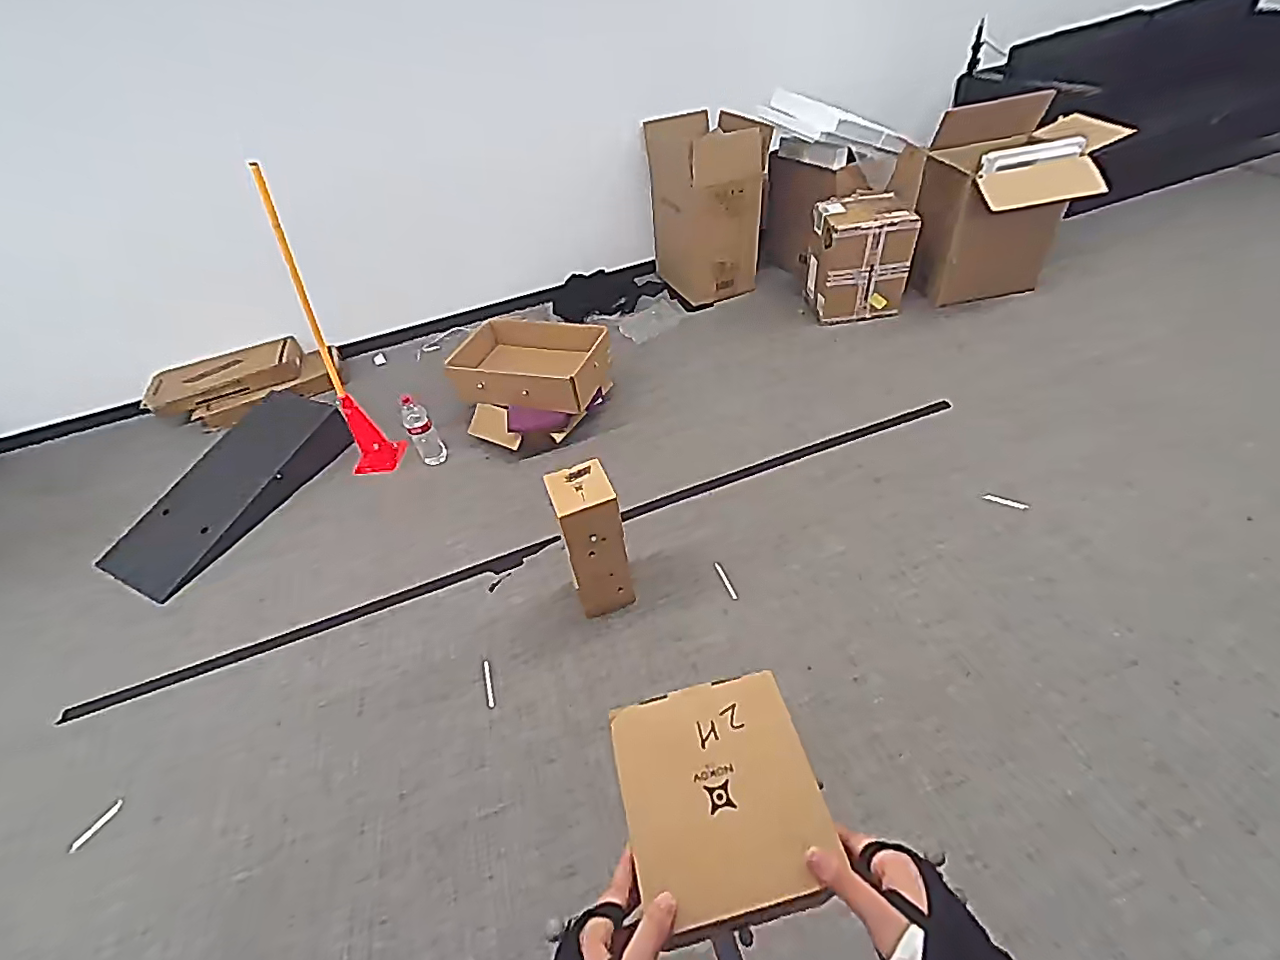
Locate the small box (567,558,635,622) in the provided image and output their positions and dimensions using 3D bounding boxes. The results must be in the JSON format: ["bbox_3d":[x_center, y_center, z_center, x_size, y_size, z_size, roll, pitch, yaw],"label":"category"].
[{"bbox_3d":[-0.121,0.327,1.753,0.179,0.176,0.168,-20,44,-8],"label":"small box"}]

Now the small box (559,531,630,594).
[{"bbox_3d":[-0.140,0.210,1.640,0.168,0.176,0.179,-20,43,-10],"label":"small box"}]

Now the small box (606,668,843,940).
[{"bbox_3d":[0.072,0.317,0.524,0.168,0.176,0.179,-13,45,-5],"label":"small box"}]

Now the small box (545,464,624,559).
[{"bbox_3d":[-0.156,0.090,1.527,0.168,0.176,0.179,-20,45,-10],"label":"small box"}]
